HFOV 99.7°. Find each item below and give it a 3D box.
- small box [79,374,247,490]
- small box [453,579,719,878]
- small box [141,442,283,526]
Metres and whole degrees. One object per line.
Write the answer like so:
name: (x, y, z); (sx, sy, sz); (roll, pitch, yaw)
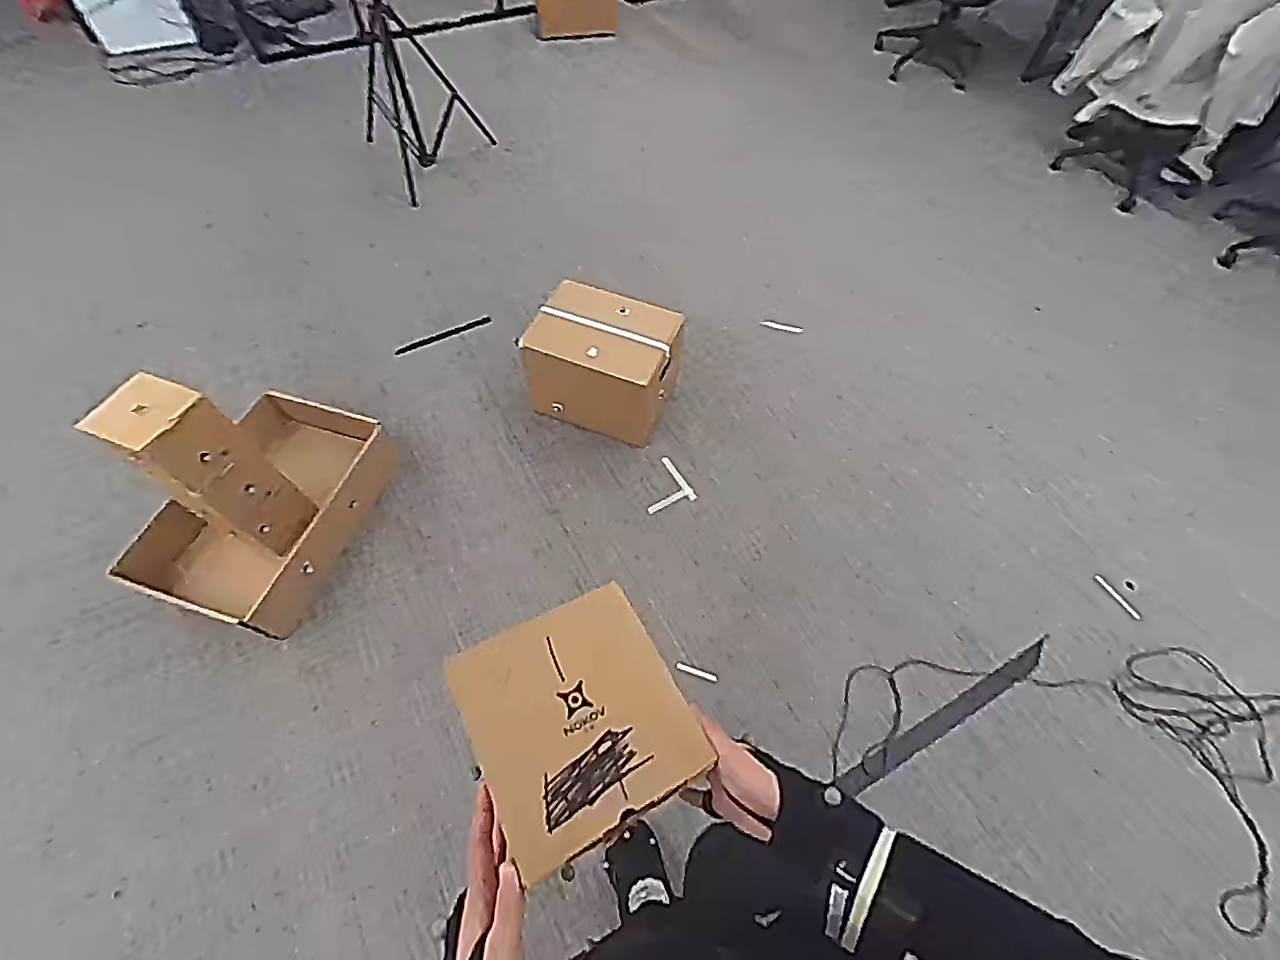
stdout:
small box: (-1.031, -0.100, 1.187); (0.179, 0.176, 0.168); (18, 59, 10)
small box: (-0.055, 0.227, 0.502); (0.168, 0.176, 0.179); (-20, 60, -22)
small box: (-1.029, -0.007, 1.321); (0.179, 0.176, 0.168); (19, 60, 10)
